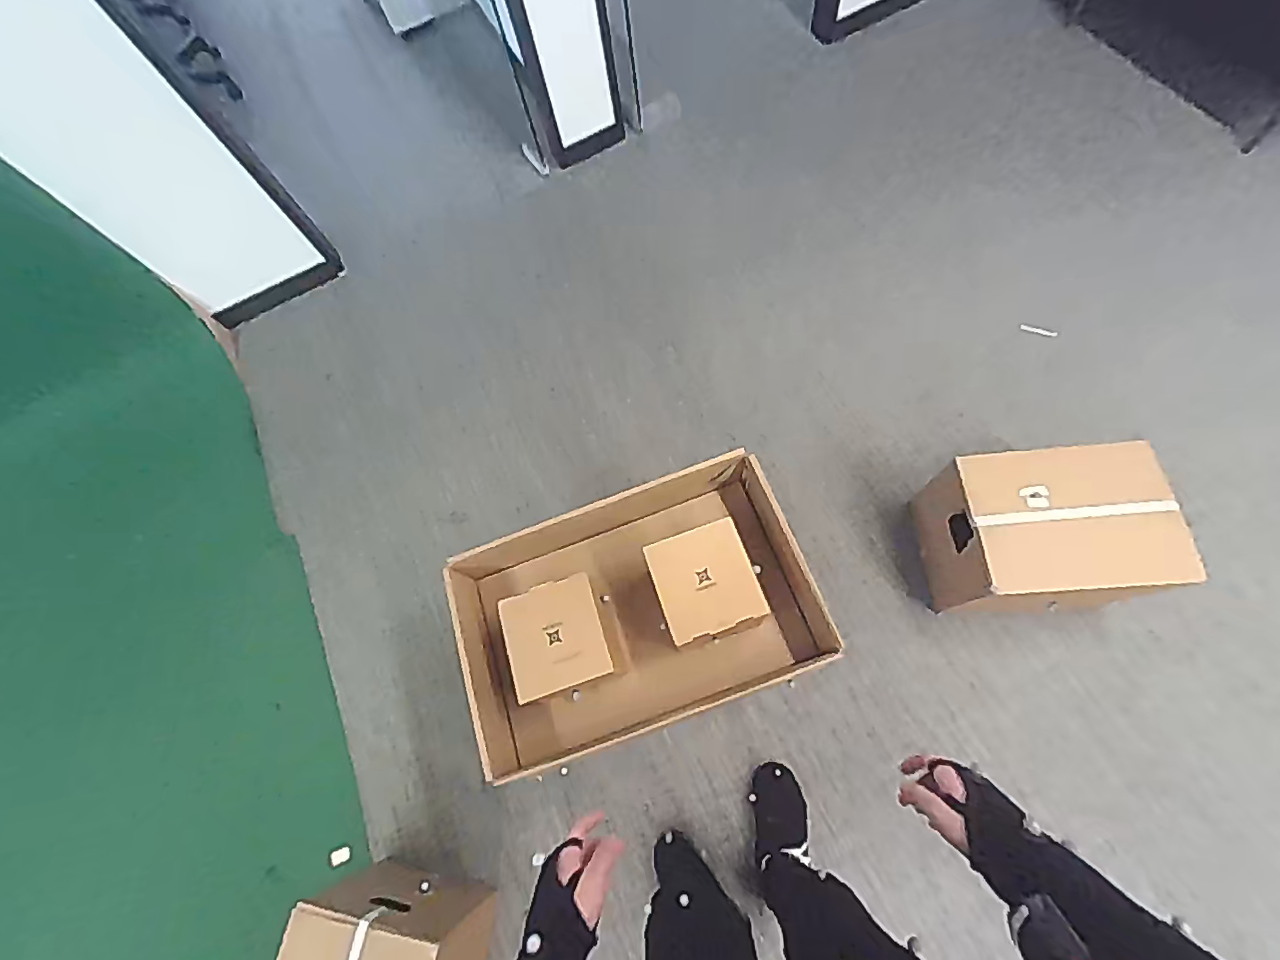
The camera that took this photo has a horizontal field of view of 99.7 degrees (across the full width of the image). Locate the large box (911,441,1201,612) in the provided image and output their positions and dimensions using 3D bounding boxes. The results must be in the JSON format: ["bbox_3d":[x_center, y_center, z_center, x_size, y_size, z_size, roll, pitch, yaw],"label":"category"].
[{"bbox_3d":[0.926,0.128,1.275,0.408,0.320,0.320,-5,68,6],"label":"large box"}]

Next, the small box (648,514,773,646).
[{"bbox_3d":[0.121,0.186,0.975,0.168,0.176,0.179,-20,69,-1],"label":"small box"}]
